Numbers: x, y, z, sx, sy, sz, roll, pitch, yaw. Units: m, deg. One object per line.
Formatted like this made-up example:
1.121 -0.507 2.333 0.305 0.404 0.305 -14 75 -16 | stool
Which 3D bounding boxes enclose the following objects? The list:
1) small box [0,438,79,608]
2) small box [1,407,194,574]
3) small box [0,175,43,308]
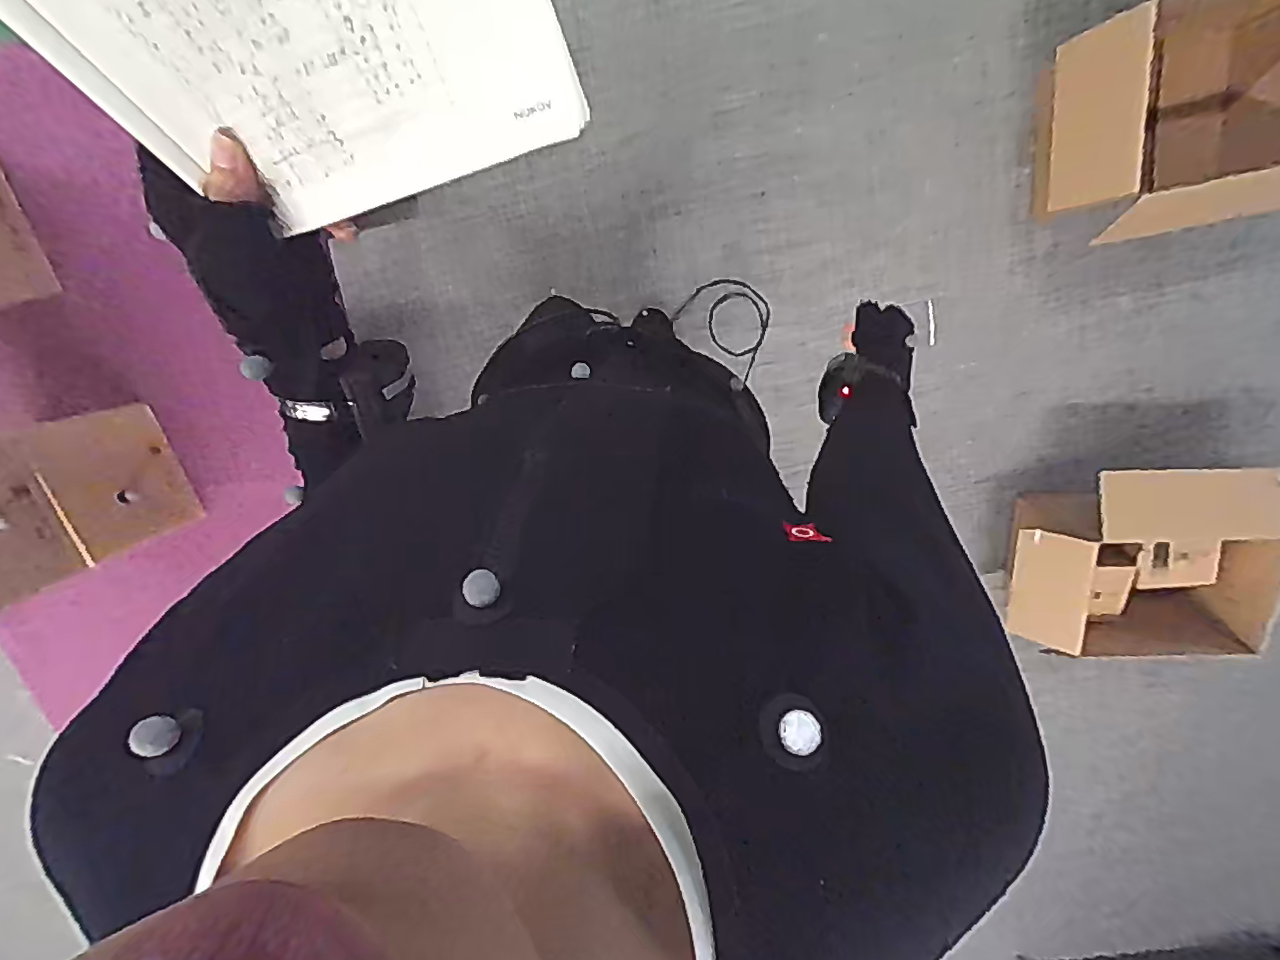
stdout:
-0.728 0.067 0.519 0.179 0.176 0.168 -10 108 5 | small box
-0.717 0.017 0.676 0.179 0.176 0.168 -13 107 6 | small box
-0.824 -0.270 0.584 0.179 0.176 0.168 -10 107 5 | small box
